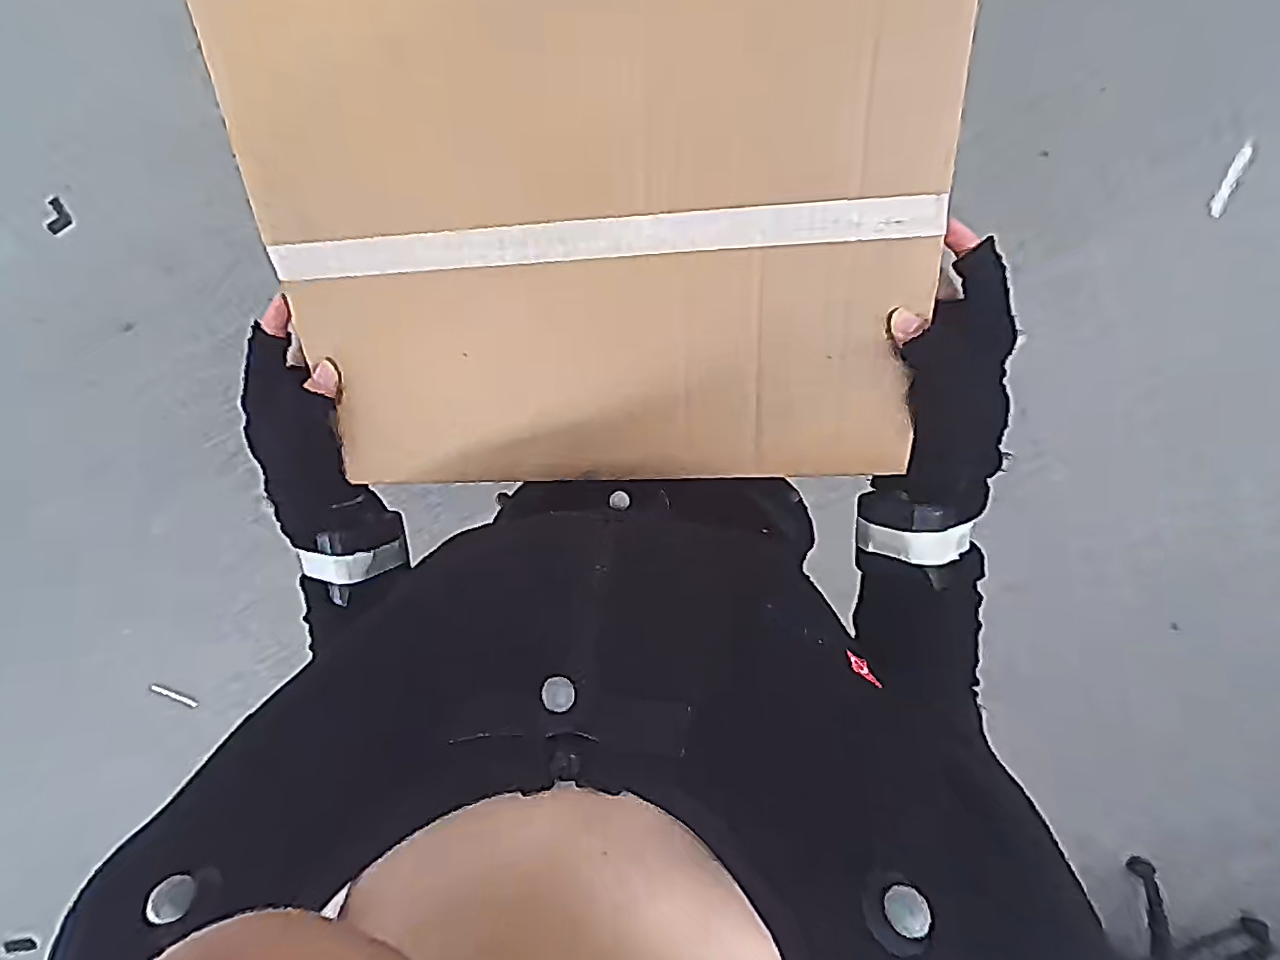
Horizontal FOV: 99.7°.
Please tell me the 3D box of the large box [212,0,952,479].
[{"bbox_3d":[-0.018,-0.209,0.469,0.408,0.320,0.320,-2,116,7],"label":"large box"}]
